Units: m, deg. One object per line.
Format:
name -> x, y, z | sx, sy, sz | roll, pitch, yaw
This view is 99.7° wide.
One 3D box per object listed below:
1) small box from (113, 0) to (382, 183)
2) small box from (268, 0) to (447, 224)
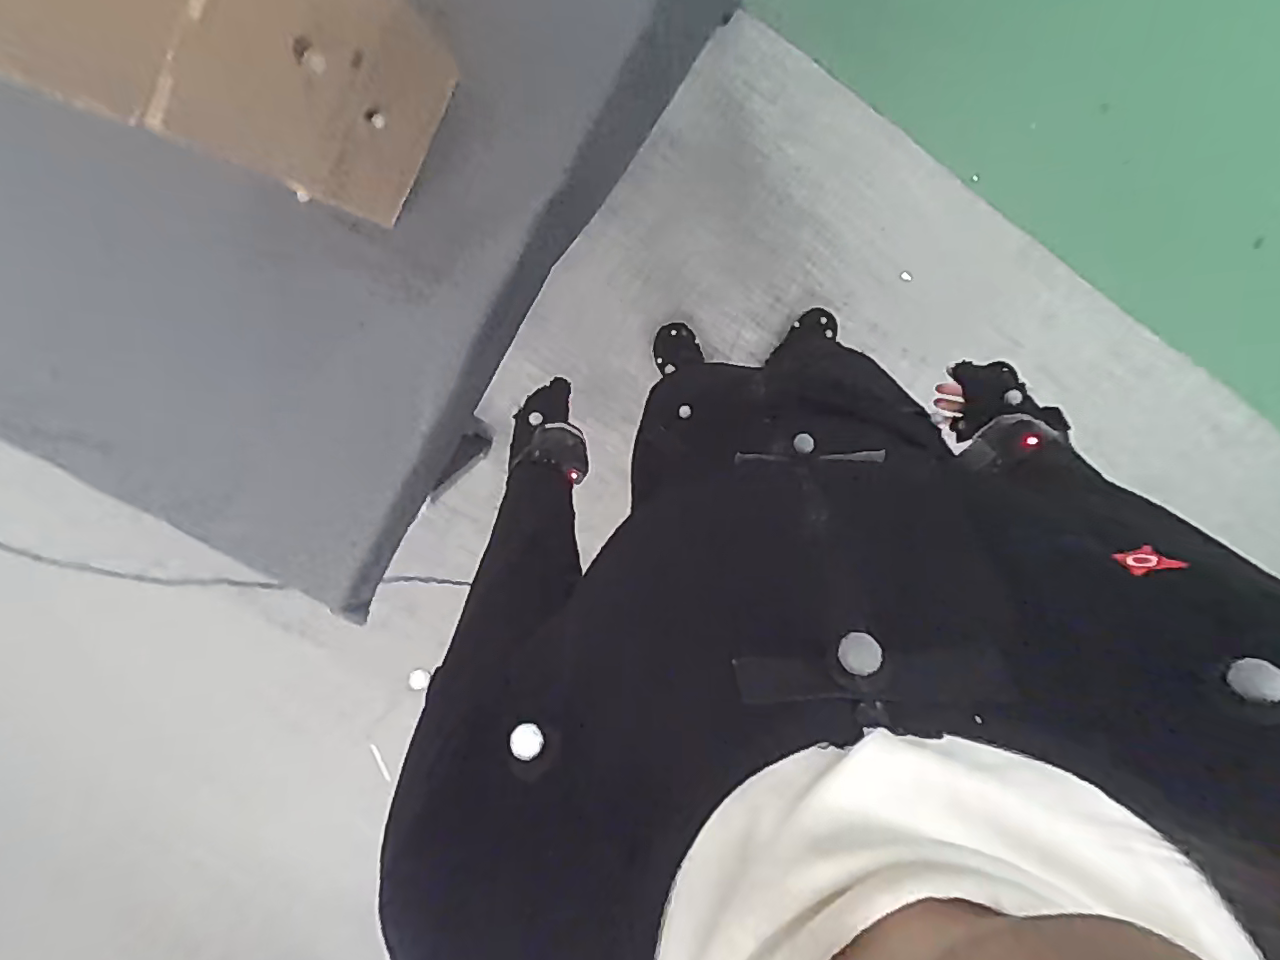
small box -> -0.299, -0.316, 0.339 | 0.179, 0.176, 0.168 | 29, 105, -9
small box -> -0.303, -0.365, 0.495 | 0.168, 0.176, 0.179 | 30, 103, -9
